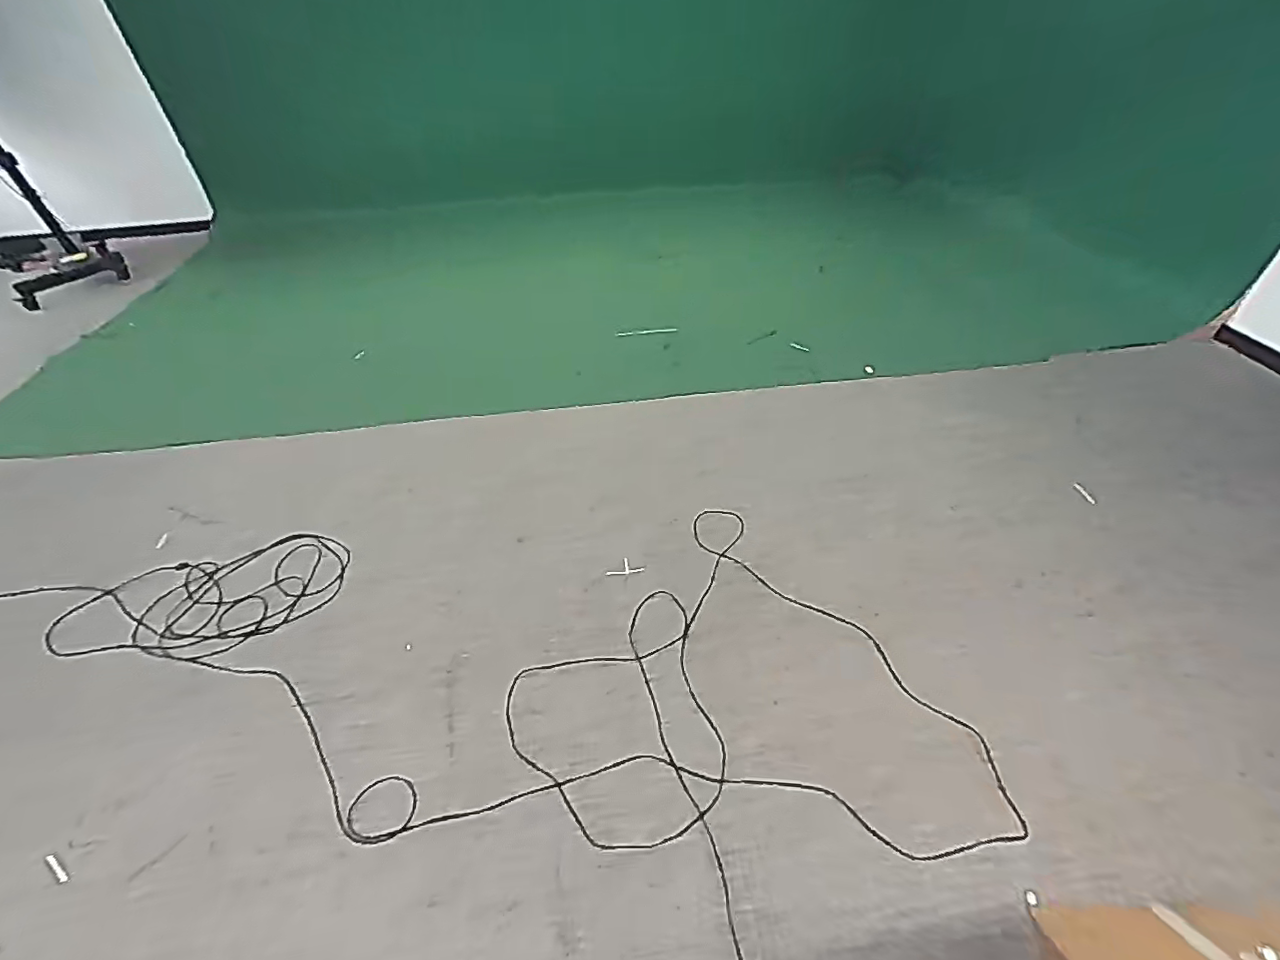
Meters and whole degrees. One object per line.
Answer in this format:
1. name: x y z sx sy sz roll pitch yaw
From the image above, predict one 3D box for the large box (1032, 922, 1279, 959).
1. large box: 0.675 0.716 0.519 0.320 0.408 0.320 -8 75 13
